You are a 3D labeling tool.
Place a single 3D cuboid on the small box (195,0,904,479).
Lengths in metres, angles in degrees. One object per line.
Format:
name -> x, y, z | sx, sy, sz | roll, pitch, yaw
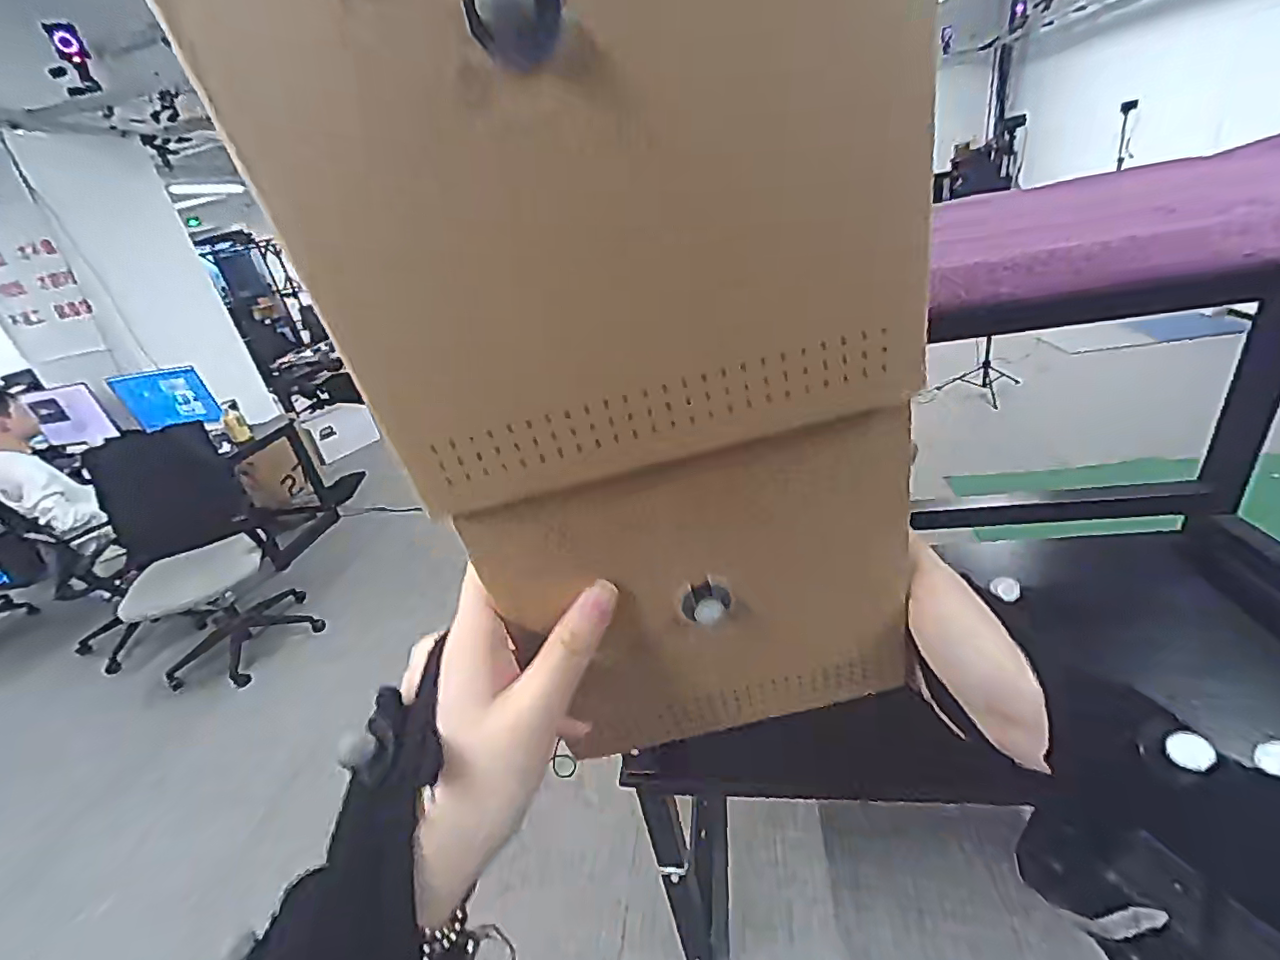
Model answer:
small box -> -0.015, -0.119, 0.211 | 0.179, 0.176, 0.168 | -14, 31, 2
